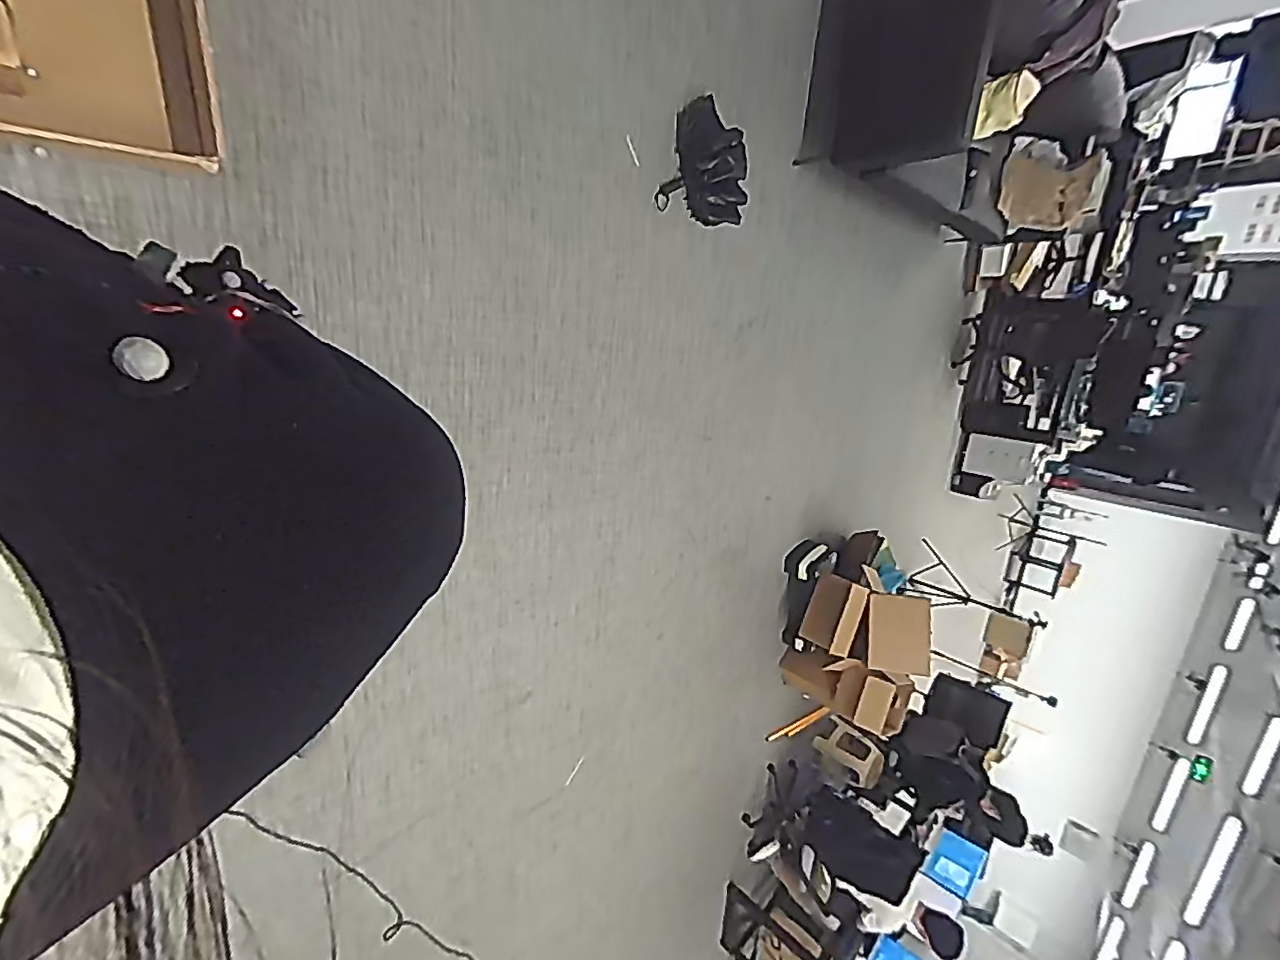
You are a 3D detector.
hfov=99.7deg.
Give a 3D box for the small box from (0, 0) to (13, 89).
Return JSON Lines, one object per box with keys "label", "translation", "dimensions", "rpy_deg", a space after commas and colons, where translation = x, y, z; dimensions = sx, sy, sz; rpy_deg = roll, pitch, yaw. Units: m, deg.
{"label": "small box", "translation": [-1.001, -0.667, 0.737], "dimensions": [0.179, 0.176, 0.168], "rpy_deg": [-10, 109, -43]}
